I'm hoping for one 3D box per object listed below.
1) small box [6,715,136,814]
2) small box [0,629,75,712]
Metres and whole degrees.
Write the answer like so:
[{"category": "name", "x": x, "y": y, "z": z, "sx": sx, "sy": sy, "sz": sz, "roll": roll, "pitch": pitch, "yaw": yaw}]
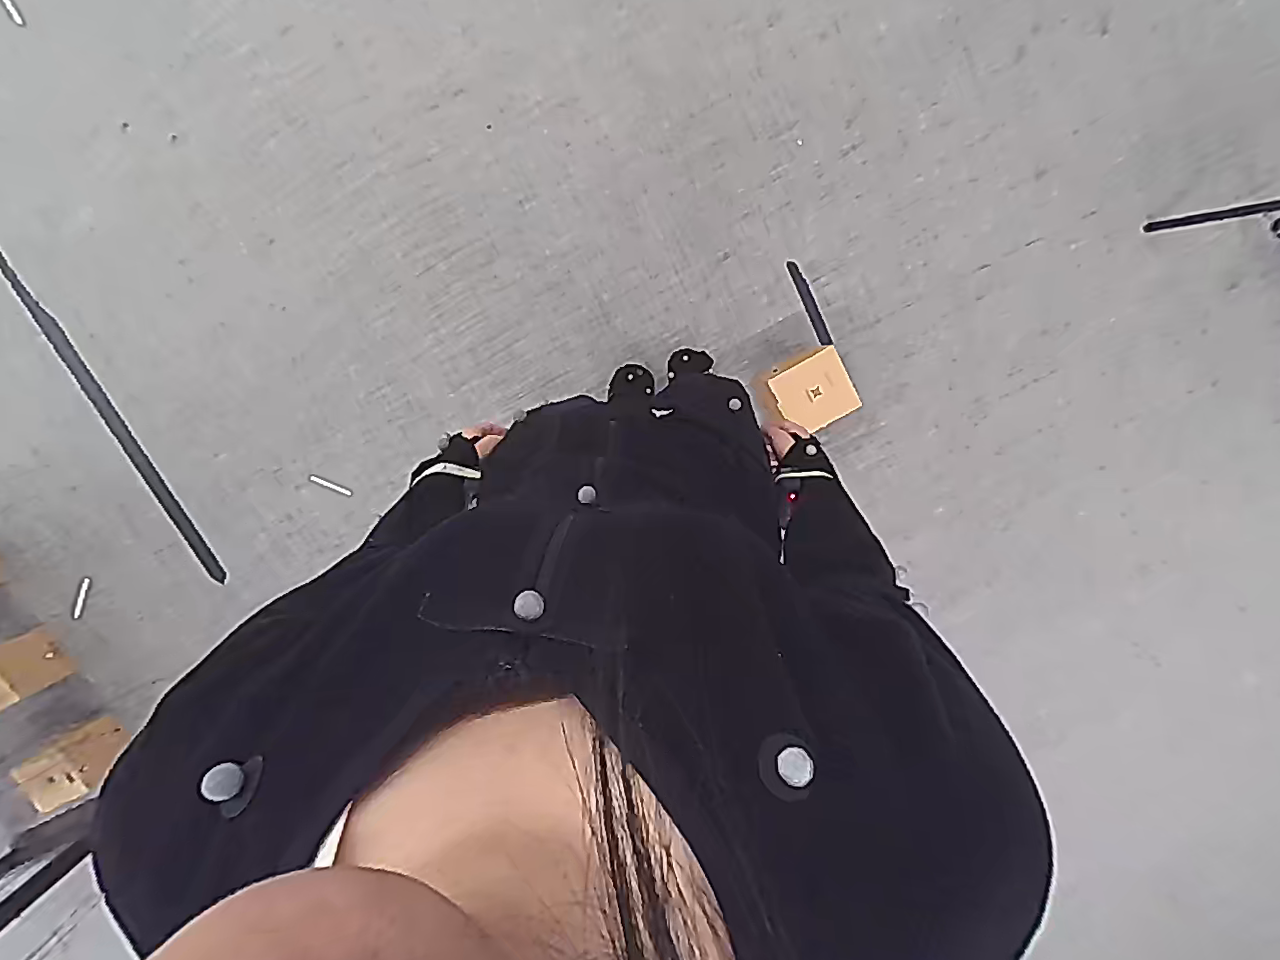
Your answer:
[{"category": "small box", "x": -1.688, "y": 0.844, "z": 1.616, "sx": 0.179, "sy": 0.176, "sz": 0.168, "roll": -24, "pitch": 101, "yaw": 7}, {"category": "small box", "x": -1.820, "y": 0.562, "z": 1.558, "sx": 0.179, "sy": 0.176, "sz": 0.168, "roll": -26, "pitch": 101, "yaw": 5}]
